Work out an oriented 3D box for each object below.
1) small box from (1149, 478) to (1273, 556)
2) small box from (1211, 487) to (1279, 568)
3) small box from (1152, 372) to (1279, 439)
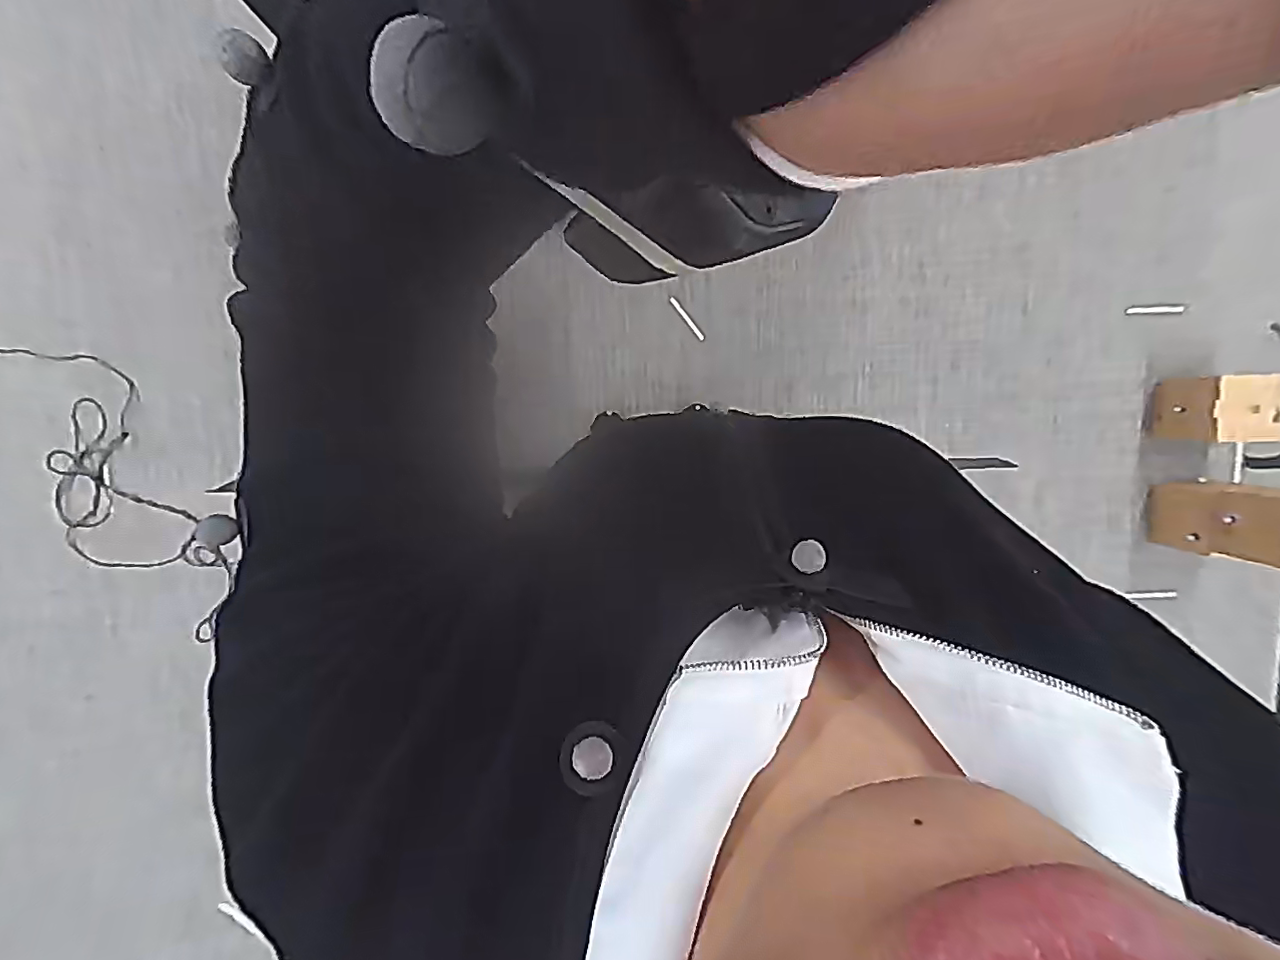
[{"bbox_3d":[1.519,0.094,1.445,0.168,0.176,0.179,-4,97,-1],"label":"small box"},{"bbox_3d":[1.533,0.109,1.283,0.179,0.176,0.168,-1,96,0],"label":"small box"},{"bbox_3d":[1.500,-0.190,1.411,0.179,0.176,0.168,0,97,0],"label":"small box"}]
